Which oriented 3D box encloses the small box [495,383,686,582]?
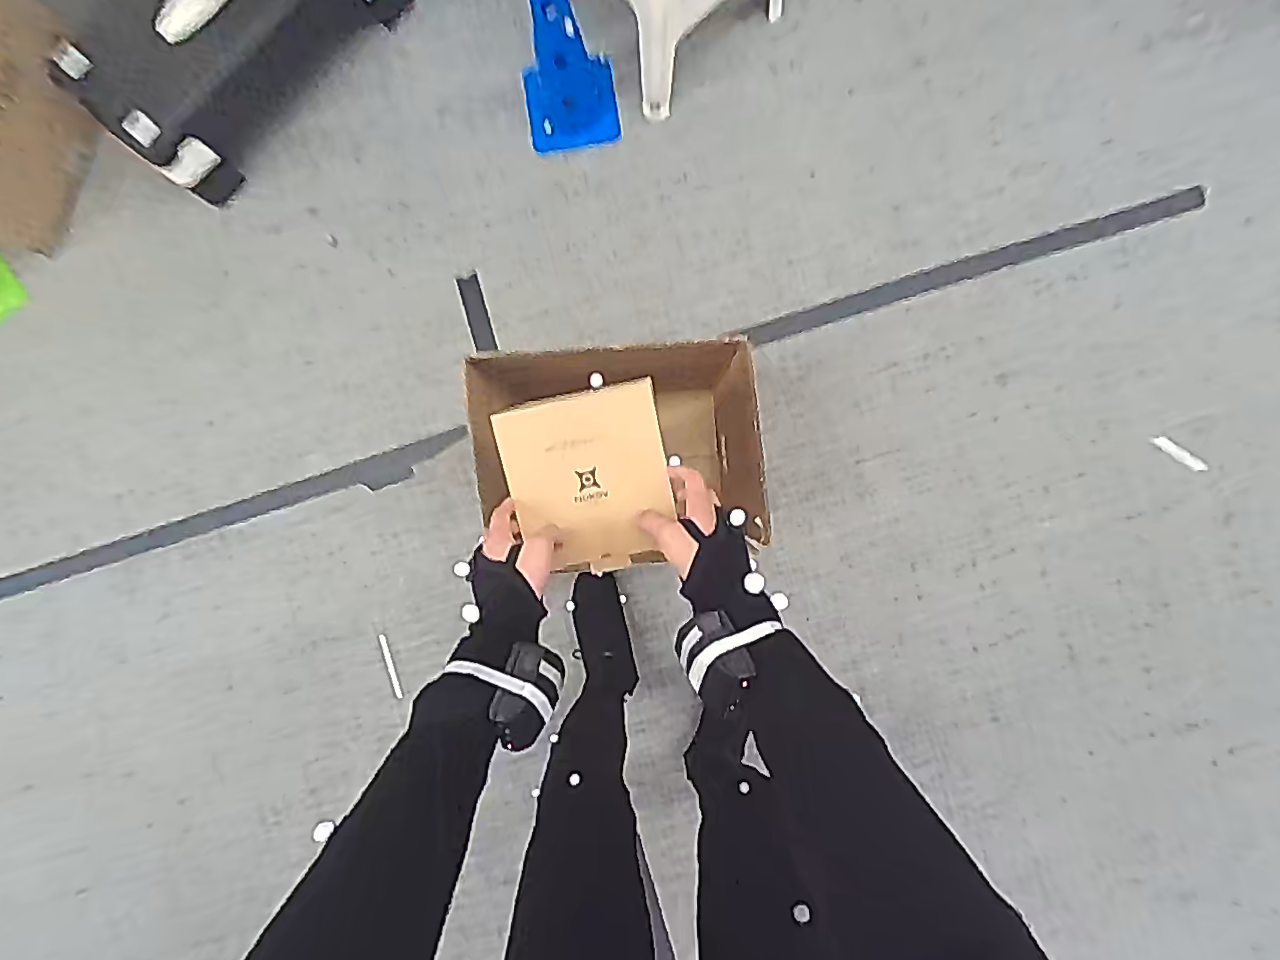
[{"bbox_3d":[-0.044,-0.007,0.616,0.168,0.176,0.179,-11,102,3],"label":"small box"}]
